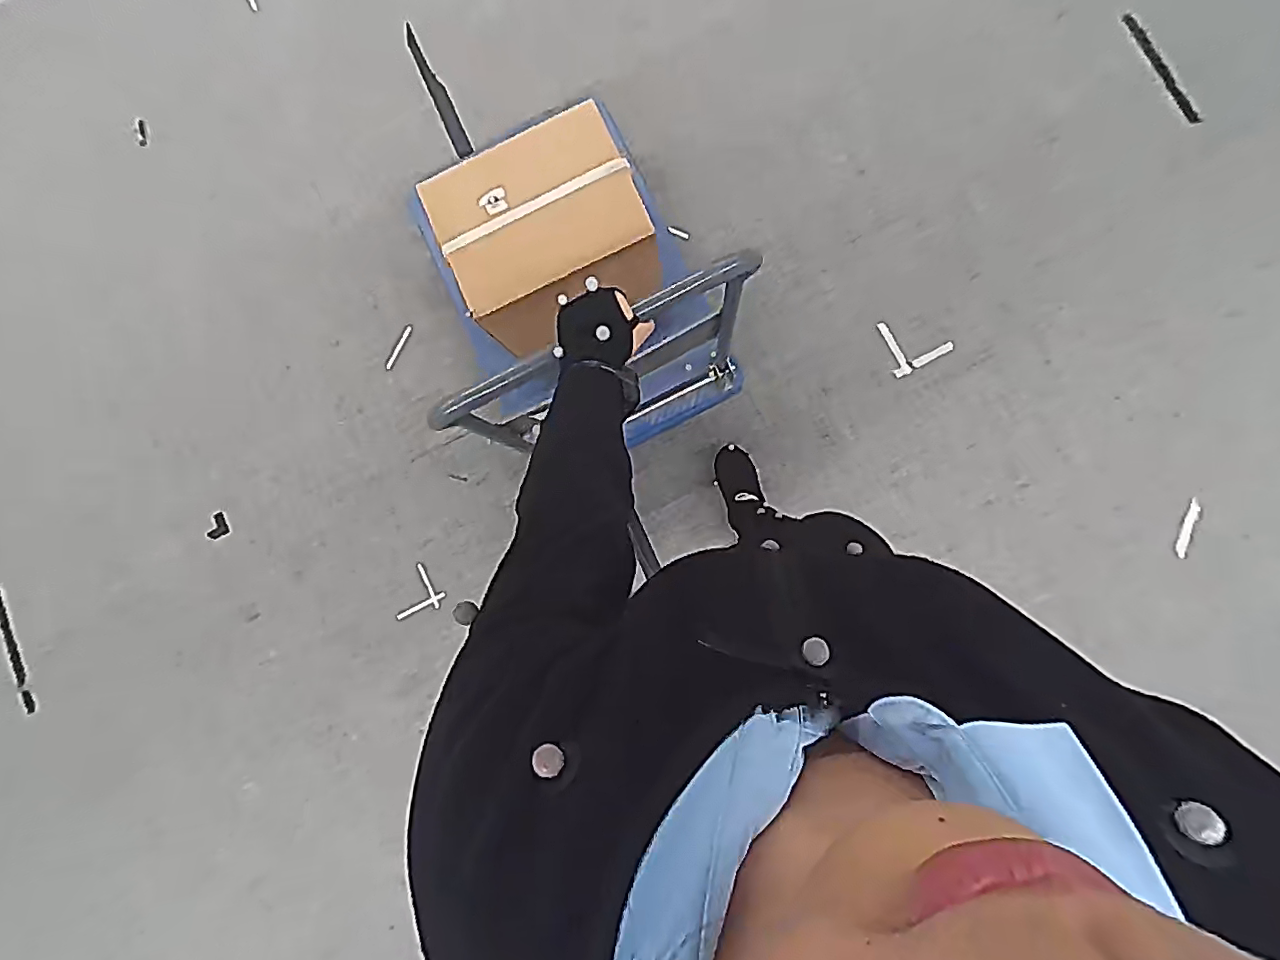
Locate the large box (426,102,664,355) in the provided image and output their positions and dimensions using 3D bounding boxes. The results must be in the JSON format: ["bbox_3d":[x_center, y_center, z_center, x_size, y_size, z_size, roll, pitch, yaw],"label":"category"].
[{"bbox_3d":[-0.191,-0.542,1.245,0.408,0.320,0.320,-25,84,4],"label":"large box"}]
